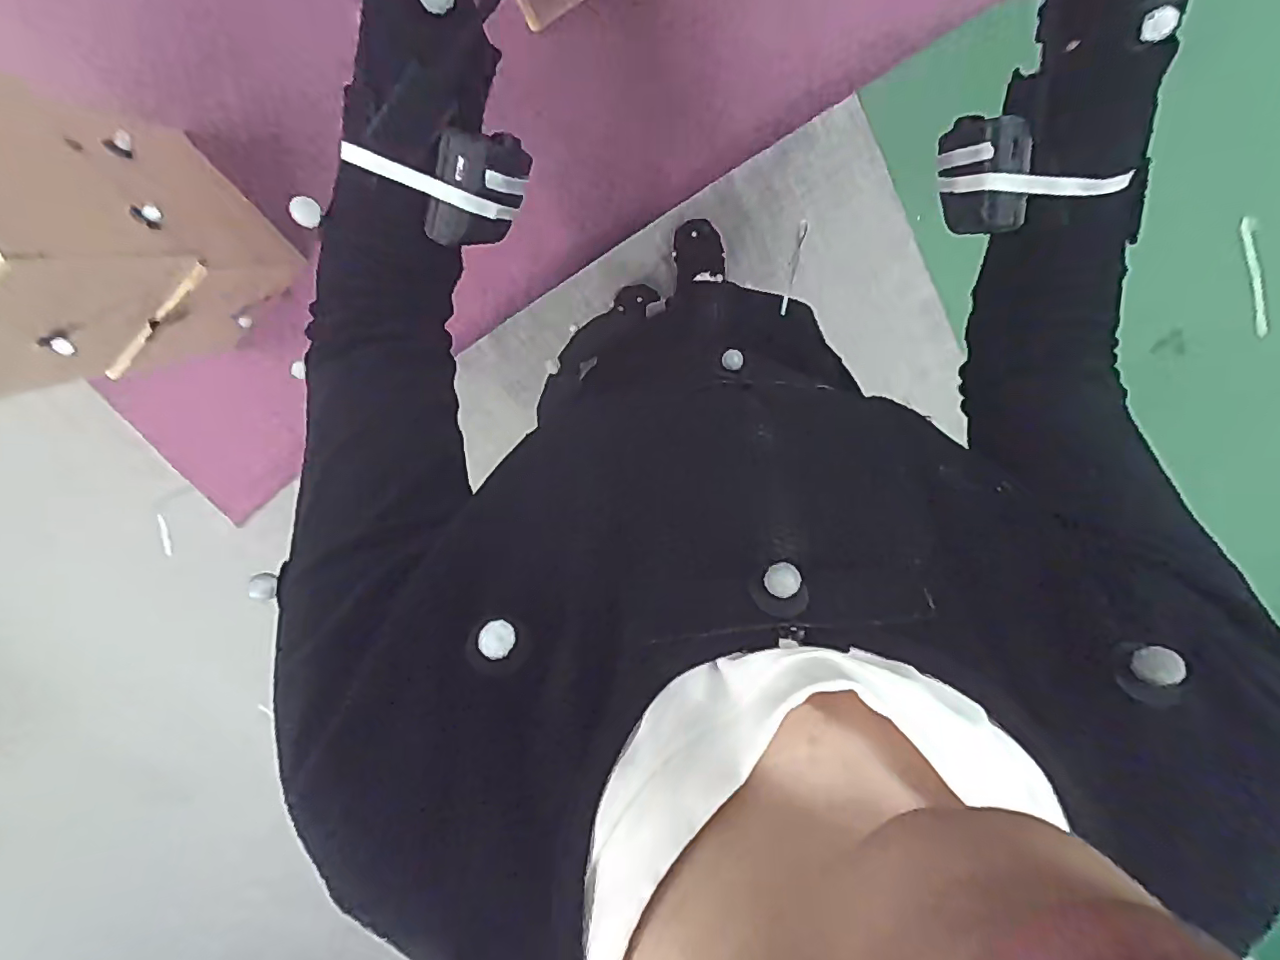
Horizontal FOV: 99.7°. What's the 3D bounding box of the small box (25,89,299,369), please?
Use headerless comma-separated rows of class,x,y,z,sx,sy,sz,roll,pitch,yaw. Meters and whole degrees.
small box,-0.514,-0.246,0.560,0.168,0.176,0.179,-36,109,16

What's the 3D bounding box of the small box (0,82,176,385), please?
small box,-0.513,-0.184,0.405,0.179,0.176,0.168,-34,107,14
